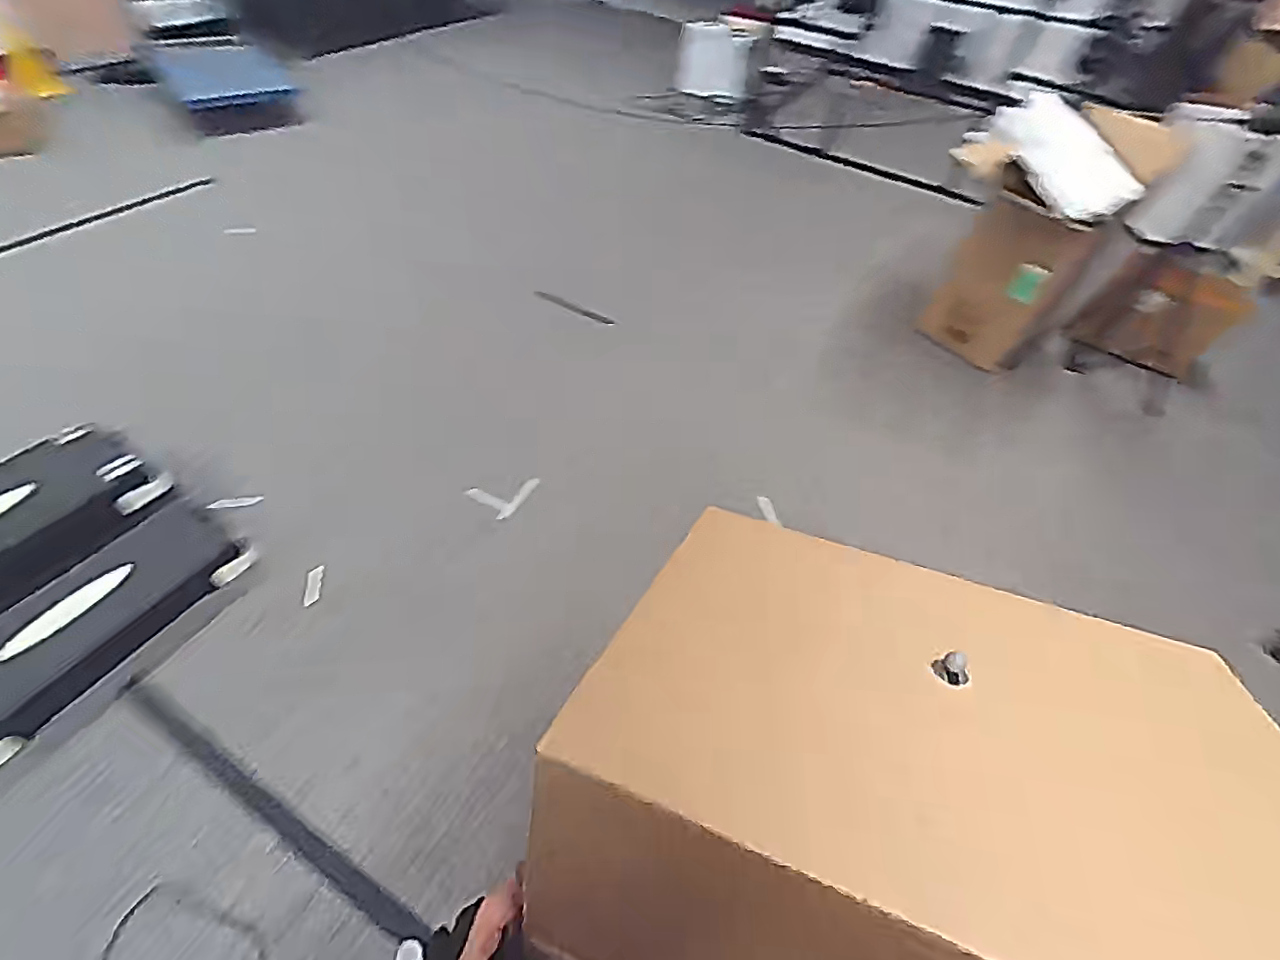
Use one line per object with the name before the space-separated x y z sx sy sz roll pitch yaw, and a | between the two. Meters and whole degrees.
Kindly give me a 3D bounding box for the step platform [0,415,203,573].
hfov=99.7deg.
step platform | -1.518 0.122 1.320 0.286 0.204 0.684 33 54 18
